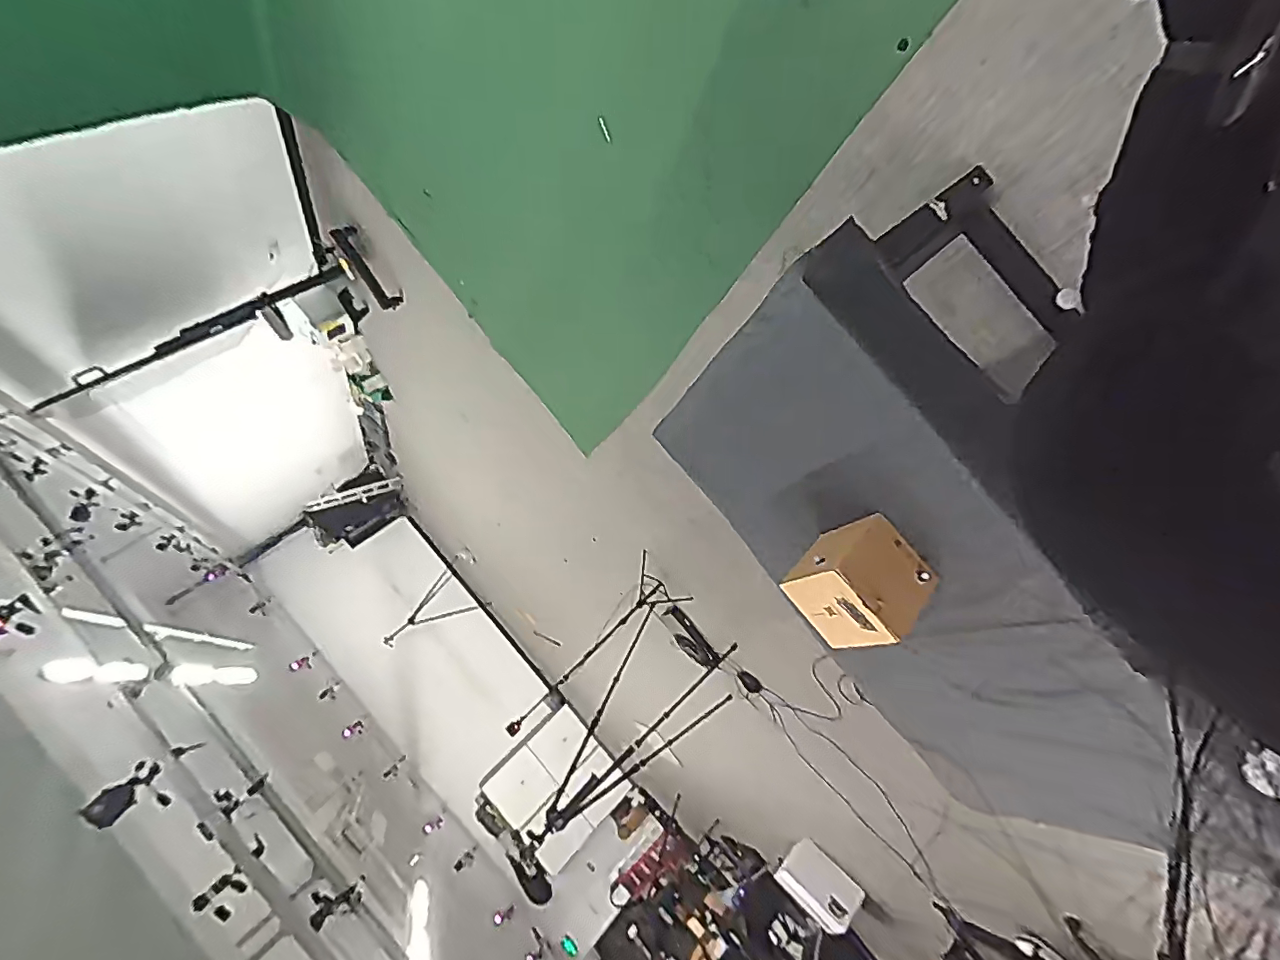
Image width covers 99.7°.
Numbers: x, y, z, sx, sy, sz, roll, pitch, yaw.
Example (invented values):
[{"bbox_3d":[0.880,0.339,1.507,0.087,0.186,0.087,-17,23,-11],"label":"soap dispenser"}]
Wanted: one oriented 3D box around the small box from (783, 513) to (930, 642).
[{"bbox_3d":[0.418,0.186,1.032,0.168,0.176,0.179,50,153,2],"label":"small box"}]
